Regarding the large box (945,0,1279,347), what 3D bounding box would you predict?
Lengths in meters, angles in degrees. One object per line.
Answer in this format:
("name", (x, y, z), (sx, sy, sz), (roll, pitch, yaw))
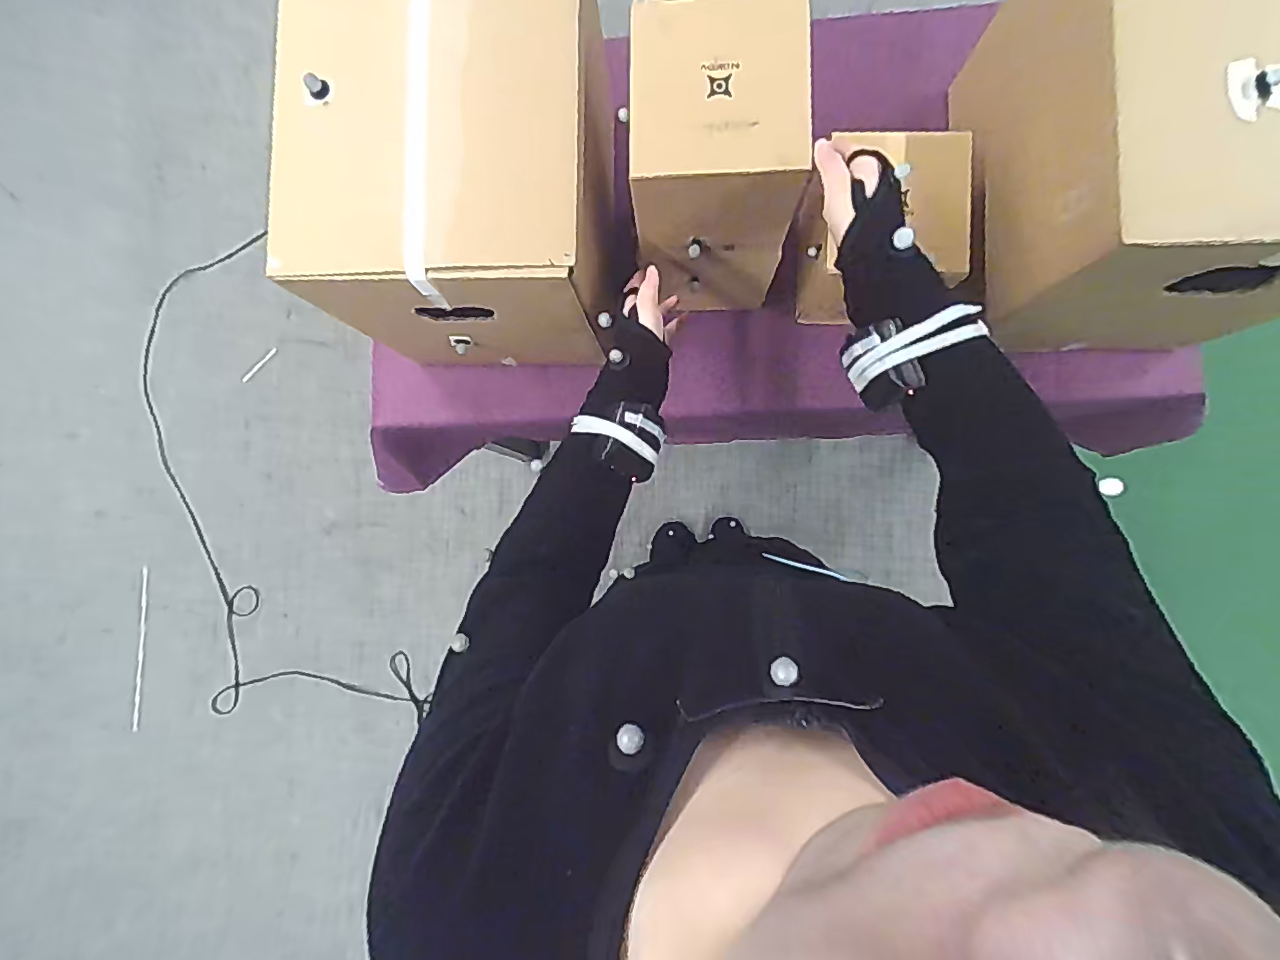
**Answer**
("large box", (0.596, -0.400, 0.643), (0.320, 0.320, 0.408), (1, 87, 4))
